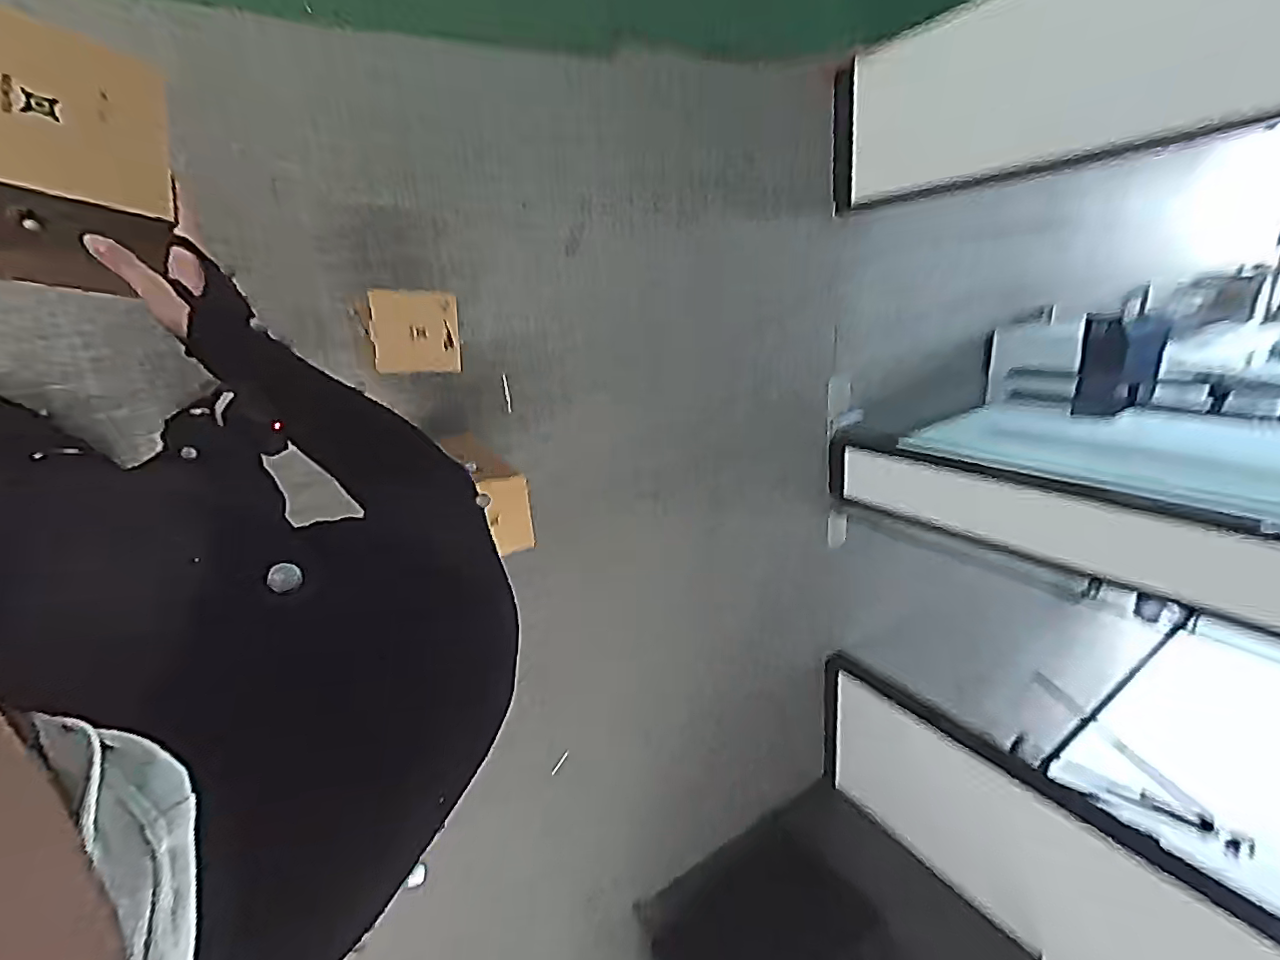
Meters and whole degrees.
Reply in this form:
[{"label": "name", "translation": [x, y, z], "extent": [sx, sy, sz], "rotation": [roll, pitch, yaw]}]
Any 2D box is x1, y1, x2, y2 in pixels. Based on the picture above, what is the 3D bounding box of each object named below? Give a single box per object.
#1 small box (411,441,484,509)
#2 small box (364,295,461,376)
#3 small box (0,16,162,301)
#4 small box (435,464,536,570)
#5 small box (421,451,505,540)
[{"label": "small box", "translation": [-0.522, -0.007, 1.495], "extent": [0.168, 0.176, 0.179], "rotation": [-16, 111, -28]}, {"label": "small box", "translation": [-0.516, -0.321, 1.218], "extent": [0.179, 0.176, 0.168], "rotation": [-8, 107, -30]}, {"label": "small box", "translation": [-0.568, -0.290, 0.505], "extent": [0.179, 0.176, 0.168], "rotation": [-3, 78, -44]}, {"label": "small box", "translation": [-0.353, 0.077, 1.228], "extent": [0.168, 0.176, 0.179], "rotation": [-16, 110, -29]}, {"label": "small box", "translation": [-0.439, 0.032, 1.359], "extent": [0.179, 0.176, 0.168], "rotation": [-15, 110, -29]}]
